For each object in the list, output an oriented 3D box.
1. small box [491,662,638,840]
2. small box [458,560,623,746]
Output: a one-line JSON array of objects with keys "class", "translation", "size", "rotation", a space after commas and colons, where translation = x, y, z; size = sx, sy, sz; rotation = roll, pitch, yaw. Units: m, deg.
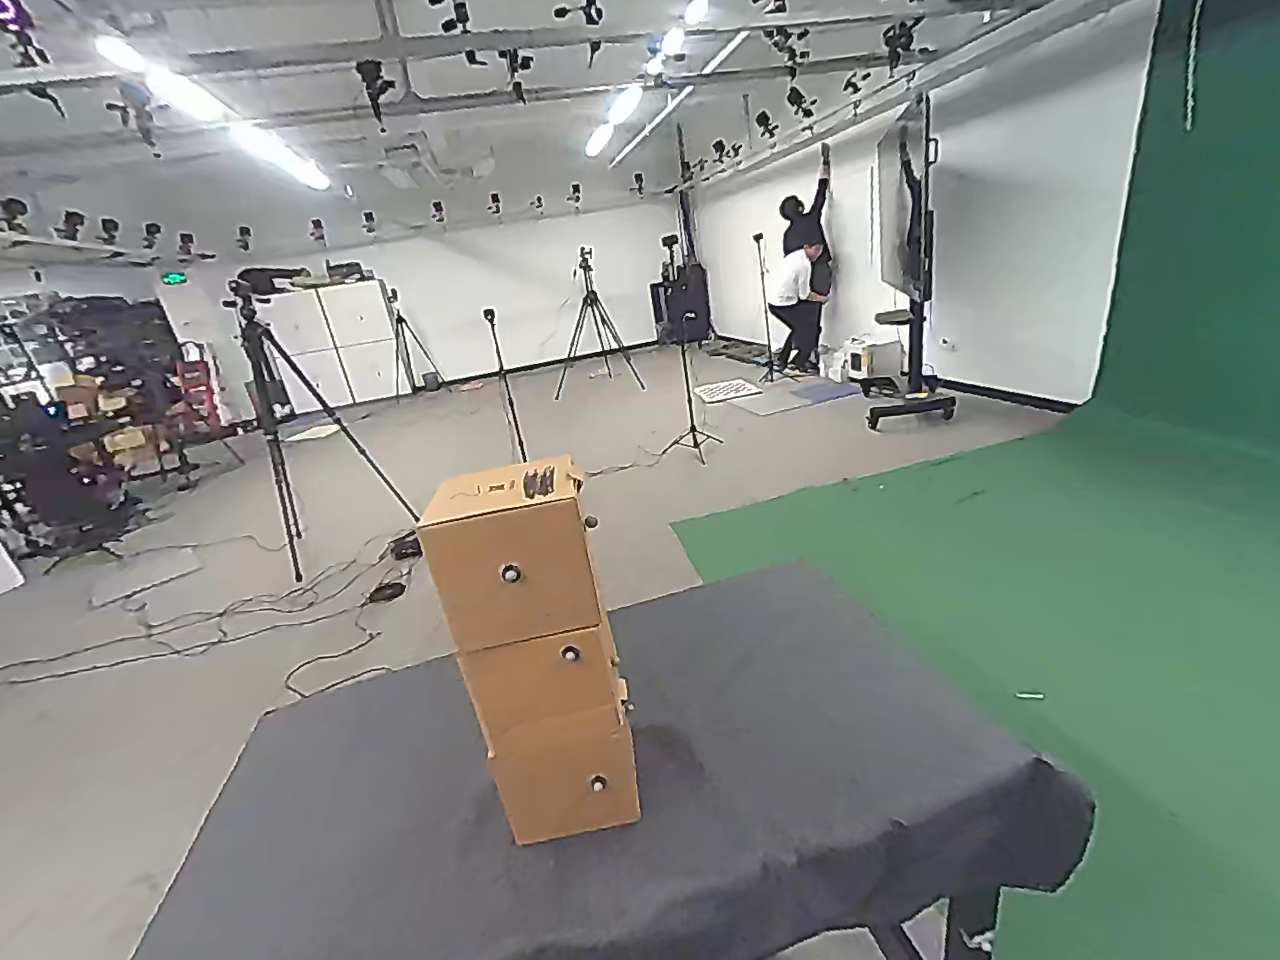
[{"class": "small box", "translation": [-0.100, 0.385, 0.796], "size": [0.179, 0.176, 0.168], "rotation": [-11, 20, -2]}, {"class": "small box", "translation": [-0.126, 0.234, 0.742], "size": [0.179, 0.176, 0.168], "rotation": [-10, 20, -3]}]
